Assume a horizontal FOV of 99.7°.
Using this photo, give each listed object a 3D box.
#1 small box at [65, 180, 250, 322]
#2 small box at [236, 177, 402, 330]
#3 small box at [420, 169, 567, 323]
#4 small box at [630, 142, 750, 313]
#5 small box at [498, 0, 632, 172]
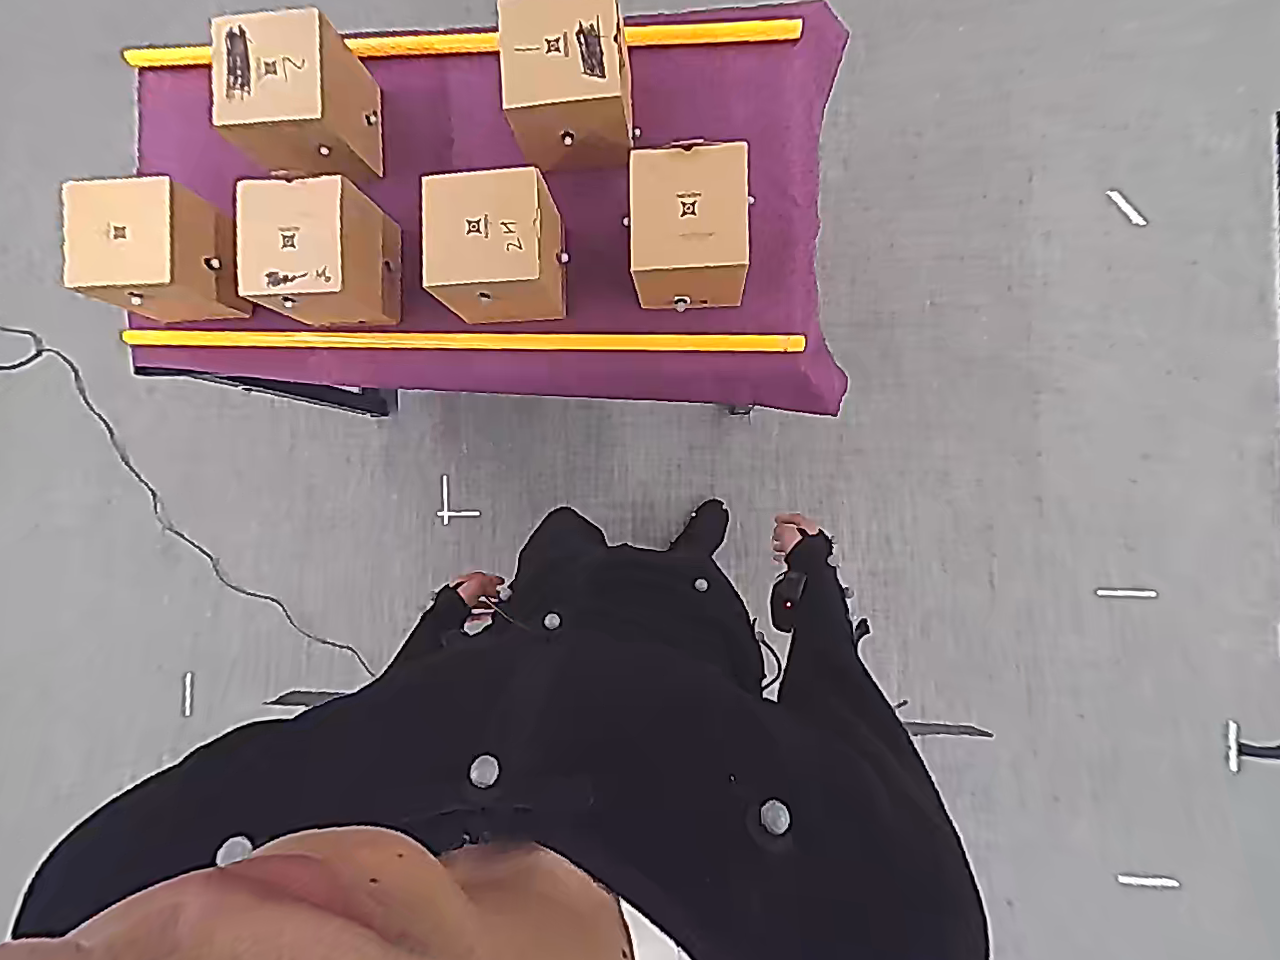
[{"bbox_3d":[-0.786,-0.370,0.901,0.179,0.176,0.168,-1,89,4],"label":"small box"},{"bbox_3d":[-0.506,-0.355,0.875,0.168,0.176,0.179,0,89,7],"label":"small box"},{"bbox_3d":[-0.220,-0.353,0.847,0.179,0.176,0.168,-1,88,6],"label":"small box"},{"bbox_3d":[0.075,-0.370,0.819,0.168,0.176,0.179,-1,87,7],"label":"small box"},{"bbox_3d":[-0.106,-0.610,0.841,0.179,0.176,0.168,-2,90,6],"label":"small box"}]
